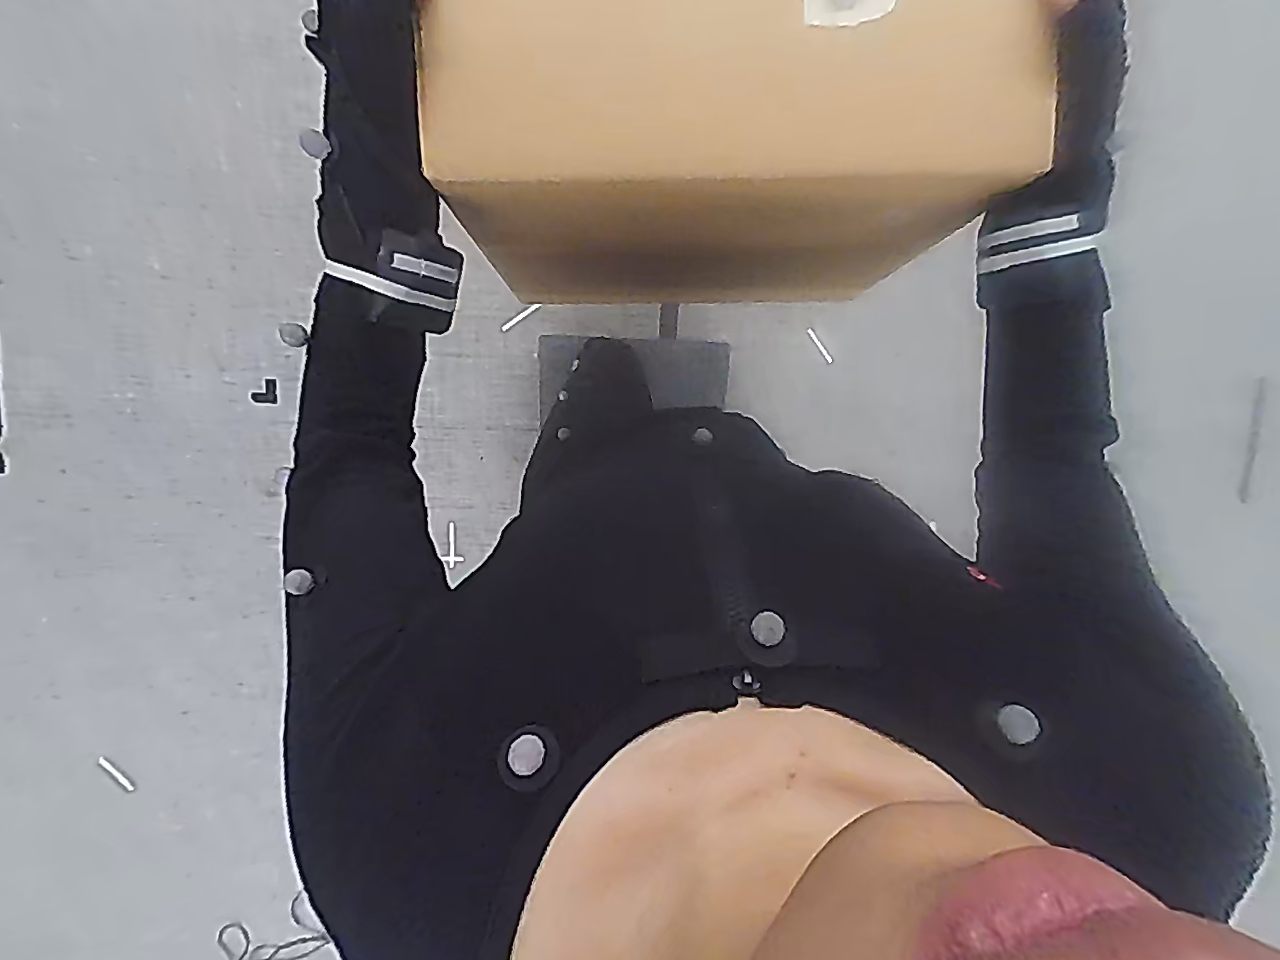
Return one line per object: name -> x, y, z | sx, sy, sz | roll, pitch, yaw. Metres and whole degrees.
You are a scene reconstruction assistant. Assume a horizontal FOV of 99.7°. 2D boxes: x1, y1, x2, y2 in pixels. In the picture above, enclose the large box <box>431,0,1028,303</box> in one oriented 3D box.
large box -> 0.054, -0.367, 0.504 | 0.408, 0.320, 0.320 | -1, 93, -1
